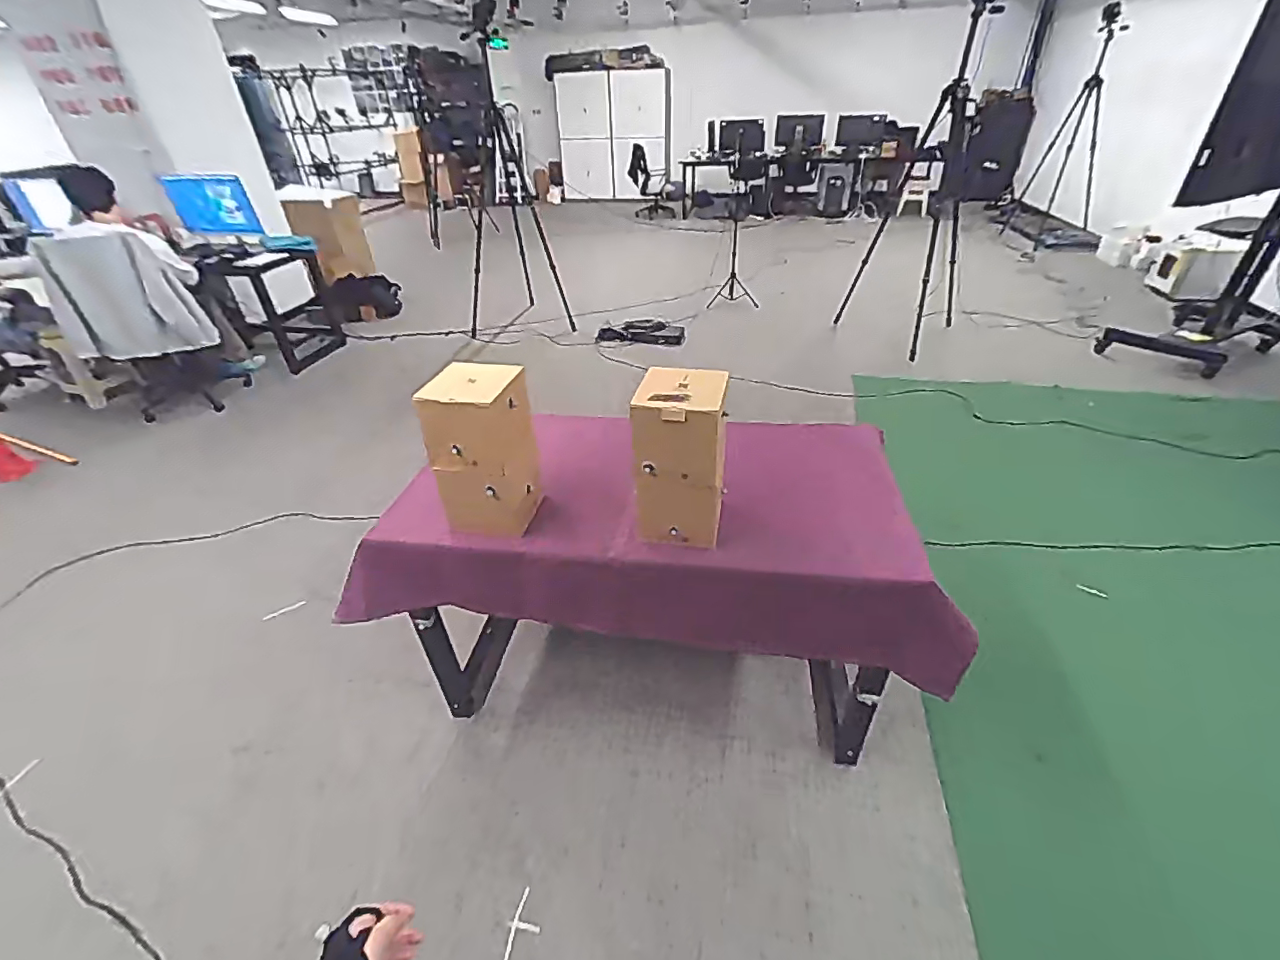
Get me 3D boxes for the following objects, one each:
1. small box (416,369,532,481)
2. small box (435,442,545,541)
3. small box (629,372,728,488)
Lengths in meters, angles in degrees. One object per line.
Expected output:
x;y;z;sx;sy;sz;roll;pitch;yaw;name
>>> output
-0.337;-0.118;1.143;0.168;0.176;0.179;5;36;11;small box
-0.329;0.021;1.228;0.179;0.176;0.168;4;35;11;small box
0.083;-0.101;1.079;0.168;0.176;0.179;6;35;13;small box
